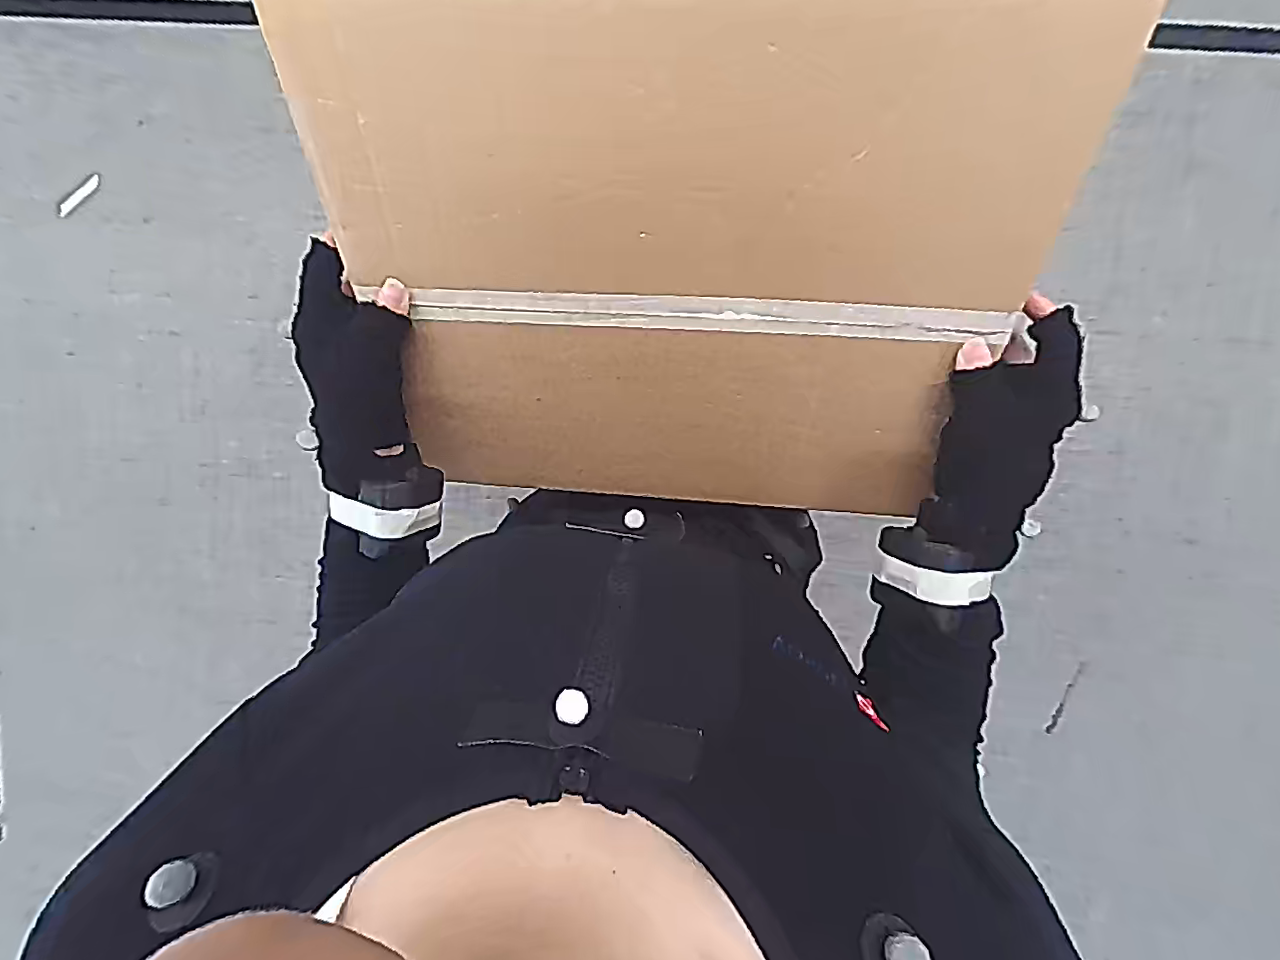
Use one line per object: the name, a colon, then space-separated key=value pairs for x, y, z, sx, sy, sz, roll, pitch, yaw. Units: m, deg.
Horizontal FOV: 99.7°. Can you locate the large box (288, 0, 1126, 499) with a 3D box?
large box: x=0.034 y=-0.208 z=0.460 sx=0.408 sy=0.320 sz=0.320 roll=4 pitch=132 yaw=5
